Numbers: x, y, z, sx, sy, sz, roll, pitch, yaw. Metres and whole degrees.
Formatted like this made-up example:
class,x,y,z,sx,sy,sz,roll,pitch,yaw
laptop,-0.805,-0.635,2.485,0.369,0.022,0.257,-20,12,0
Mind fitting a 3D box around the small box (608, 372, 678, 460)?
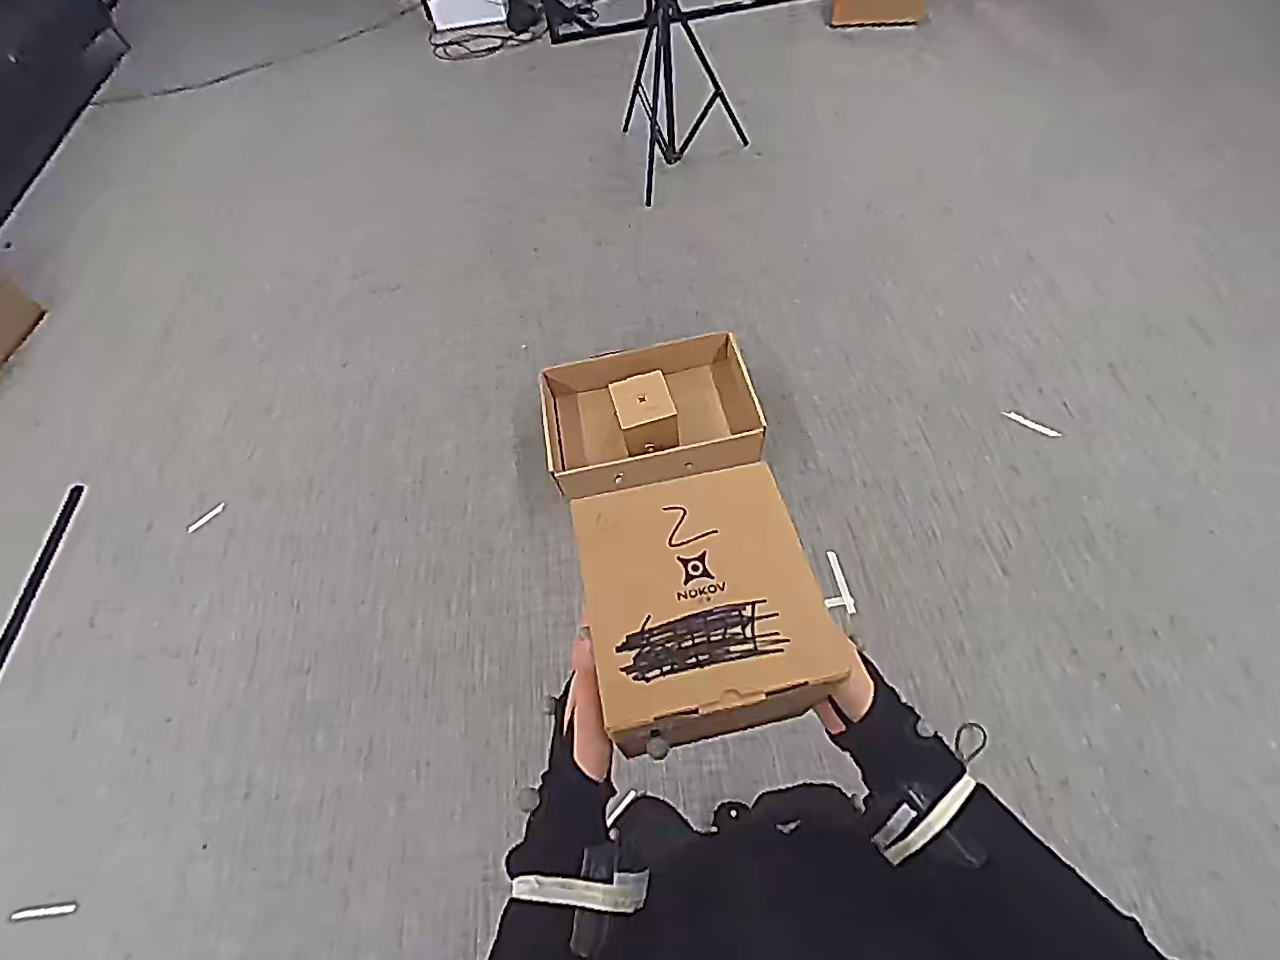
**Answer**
class,x,y,z,sx,sy,sz,roll,pitch,yaw
small box,0.011,-0.189,1.632,0.168,0.176,0.179,-17,61,-2
